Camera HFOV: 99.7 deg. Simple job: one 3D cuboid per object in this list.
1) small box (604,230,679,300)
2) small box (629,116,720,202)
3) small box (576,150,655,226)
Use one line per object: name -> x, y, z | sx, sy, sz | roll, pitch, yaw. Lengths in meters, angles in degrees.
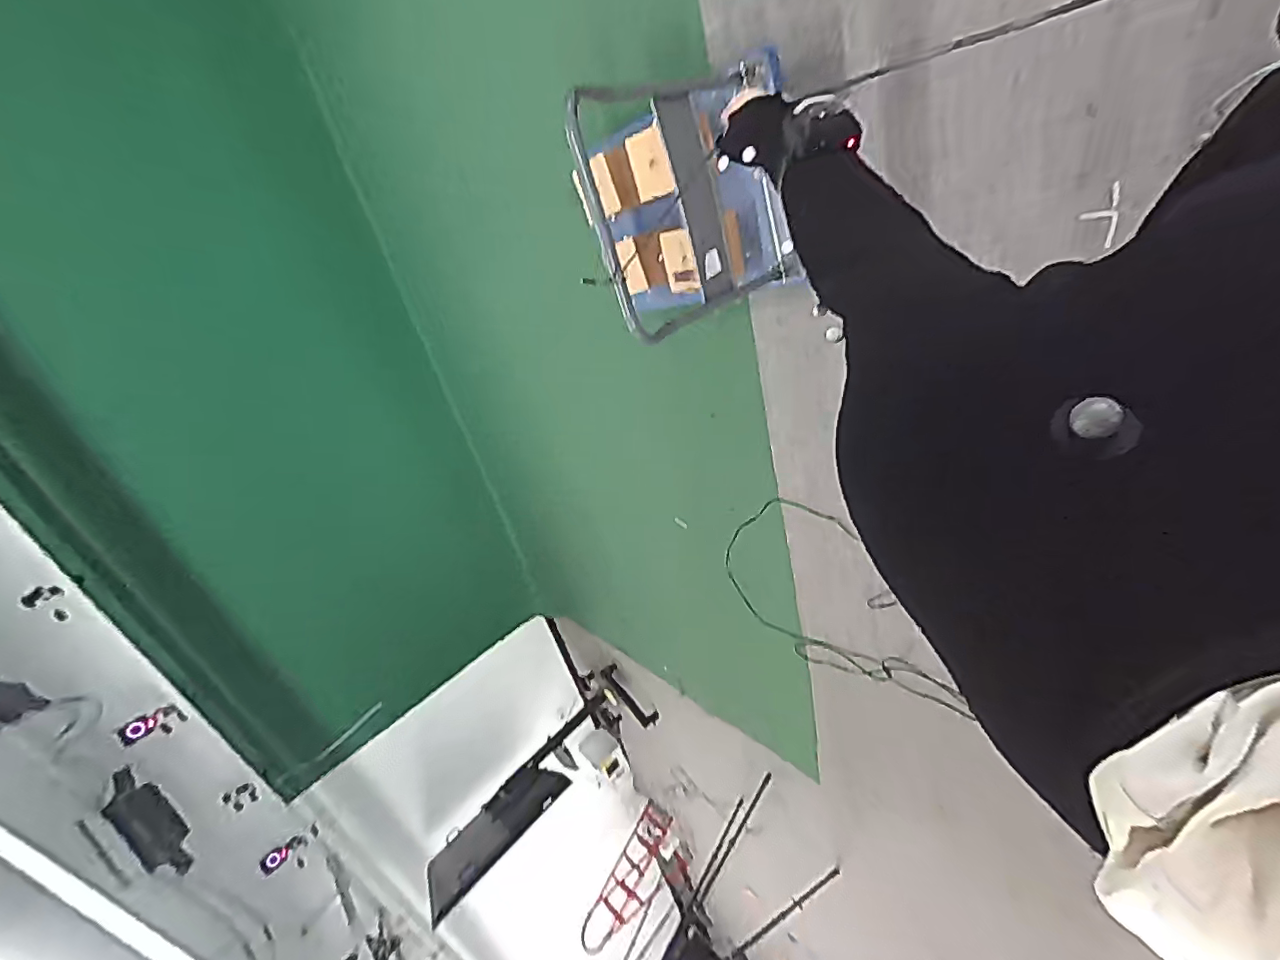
small box -> 0.014, -0.737, 1.853 | 0.179, 0.176, 0.168 | 5, 122, 51
small box -> 0.102, -0.926, 1.565 | 0.179, 0.176, 0.168 | 11, 127, 48
small box -> -0.074, -0.957, 1.768 | 0.179, 0.176, 0.168 | 5, 123, 50
